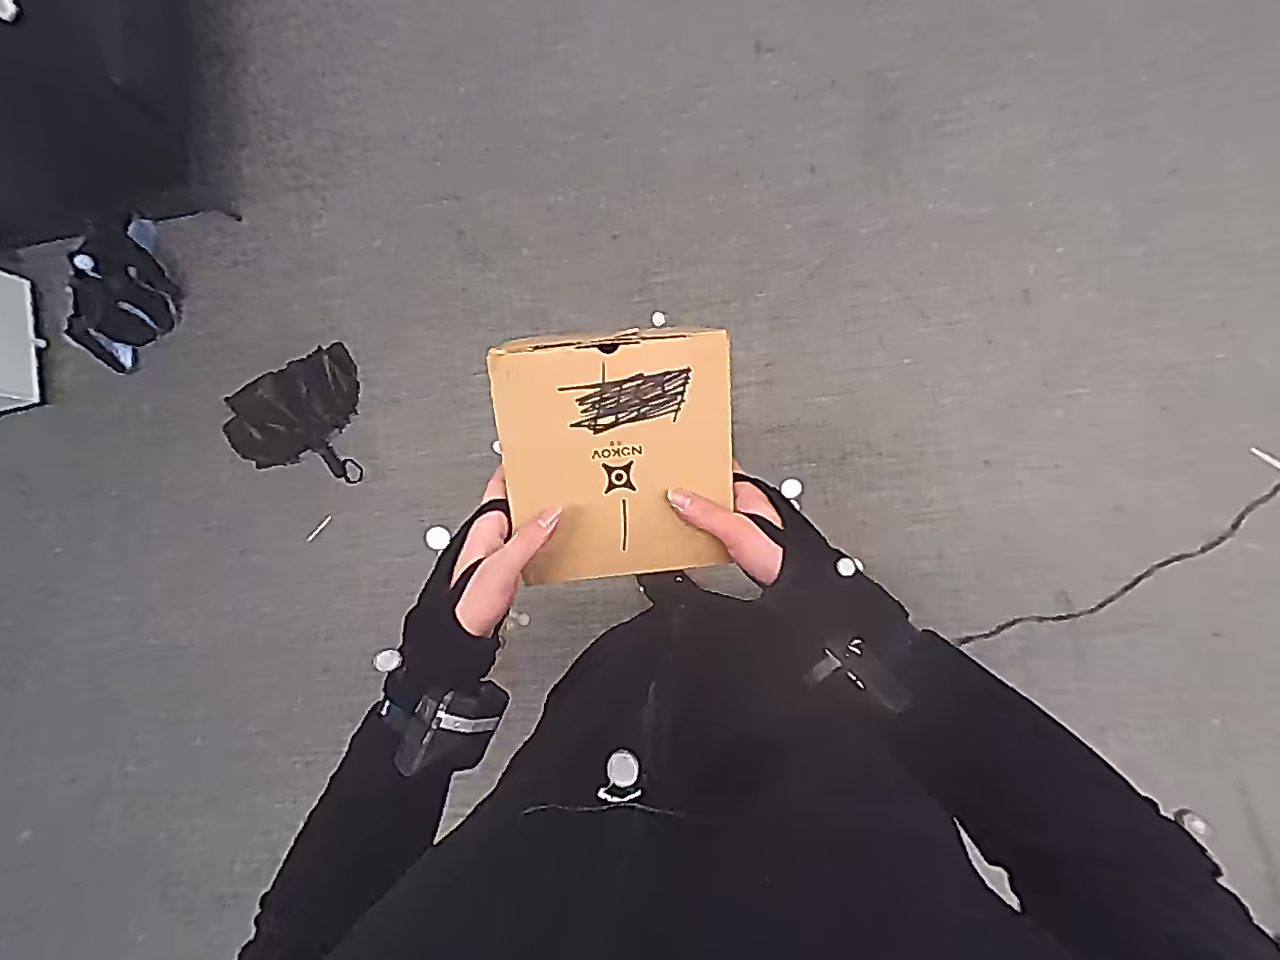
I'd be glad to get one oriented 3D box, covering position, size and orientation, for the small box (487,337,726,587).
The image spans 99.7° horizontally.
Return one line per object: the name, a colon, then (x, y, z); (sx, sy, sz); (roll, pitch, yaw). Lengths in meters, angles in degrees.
small box: (-0.025, -0.030, 0.472); (0.168, 0.176, 0.179); (-6, 108, -2)
